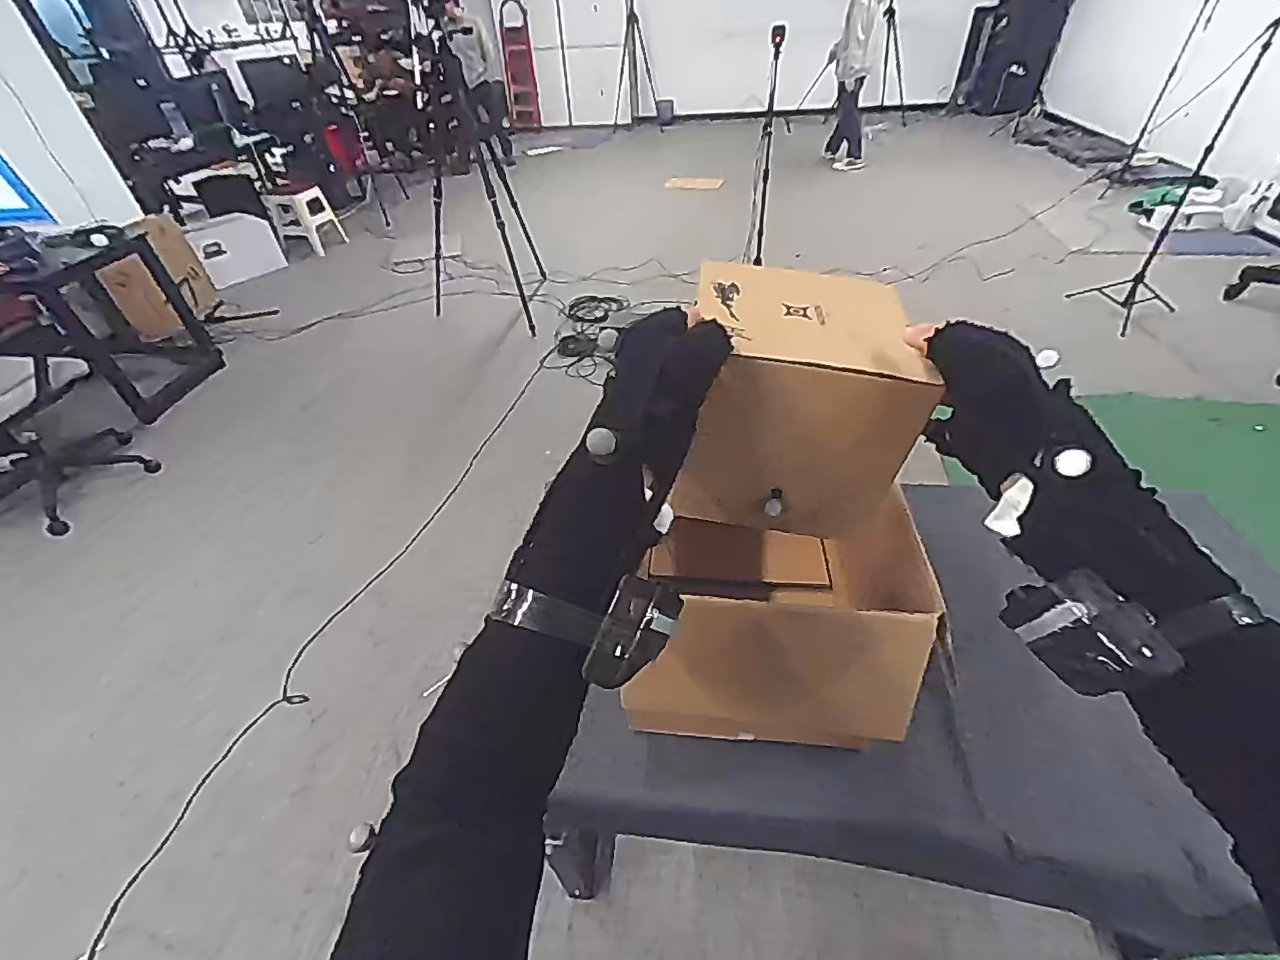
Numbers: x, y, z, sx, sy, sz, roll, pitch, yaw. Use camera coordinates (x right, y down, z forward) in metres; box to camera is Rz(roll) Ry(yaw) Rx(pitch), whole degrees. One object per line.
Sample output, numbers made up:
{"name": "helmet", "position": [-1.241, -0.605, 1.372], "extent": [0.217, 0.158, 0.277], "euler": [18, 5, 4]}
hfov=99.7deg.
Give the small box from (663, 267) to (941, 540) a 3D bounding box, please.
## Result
{"name": "small box", "position": [0.125, -0.067, 0.488], "extent": [0.179, 0.176, 0.168], "euler": [10, 42, 0]}
